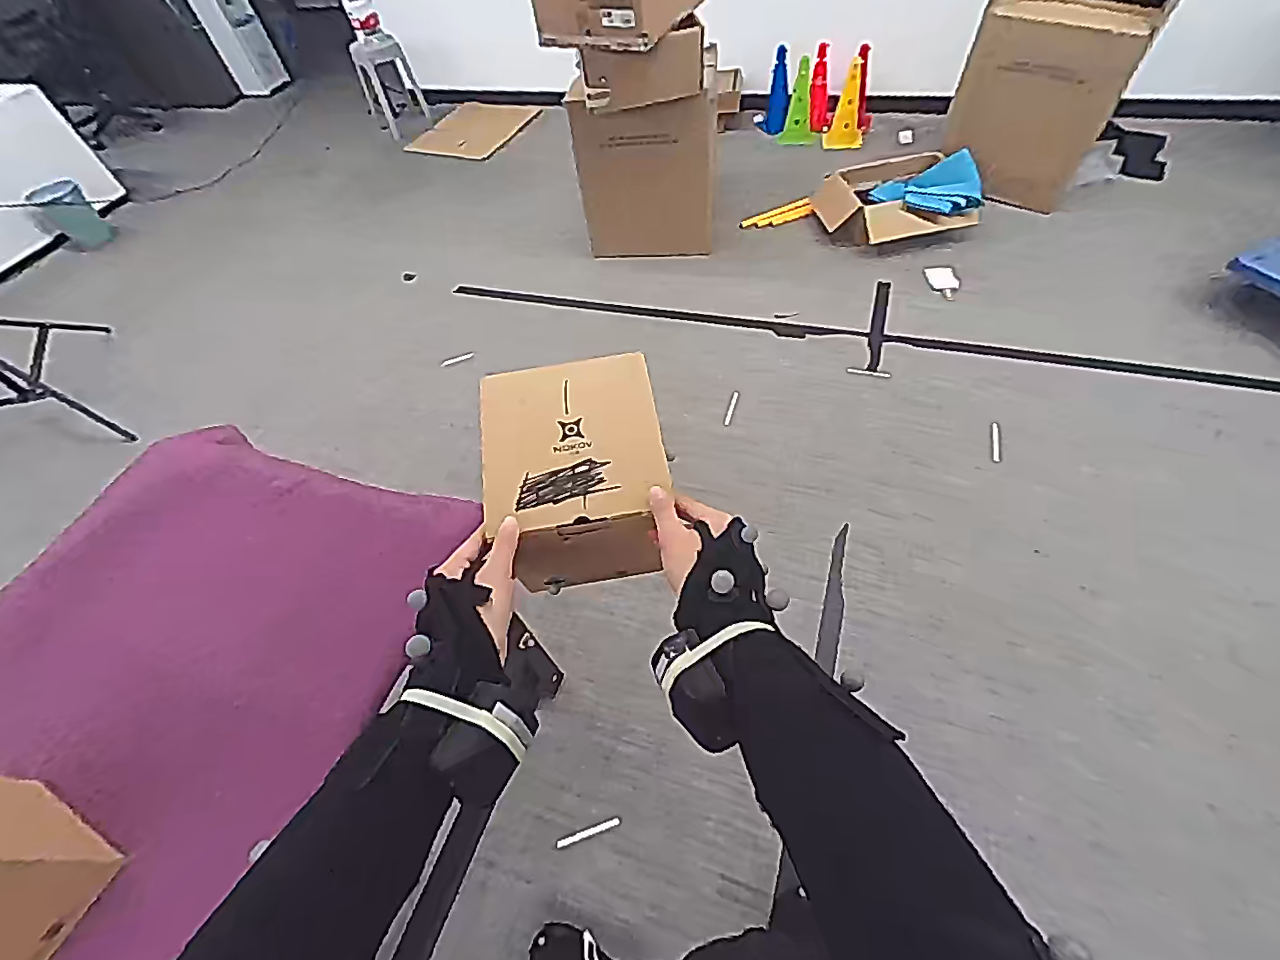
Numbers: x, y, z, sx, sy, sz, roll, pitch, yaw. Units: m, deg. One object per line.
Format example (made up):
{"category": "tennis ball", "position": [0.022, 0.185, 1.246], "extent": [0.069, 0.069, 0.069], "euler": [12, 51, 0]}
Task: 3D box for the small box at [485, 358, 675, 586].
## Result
{"category": "small box", "position": [-0.057, 0.002, 0.571], "extent": [0.168, 0.176, 0.179], "euler": [-9, 61, -2]}
